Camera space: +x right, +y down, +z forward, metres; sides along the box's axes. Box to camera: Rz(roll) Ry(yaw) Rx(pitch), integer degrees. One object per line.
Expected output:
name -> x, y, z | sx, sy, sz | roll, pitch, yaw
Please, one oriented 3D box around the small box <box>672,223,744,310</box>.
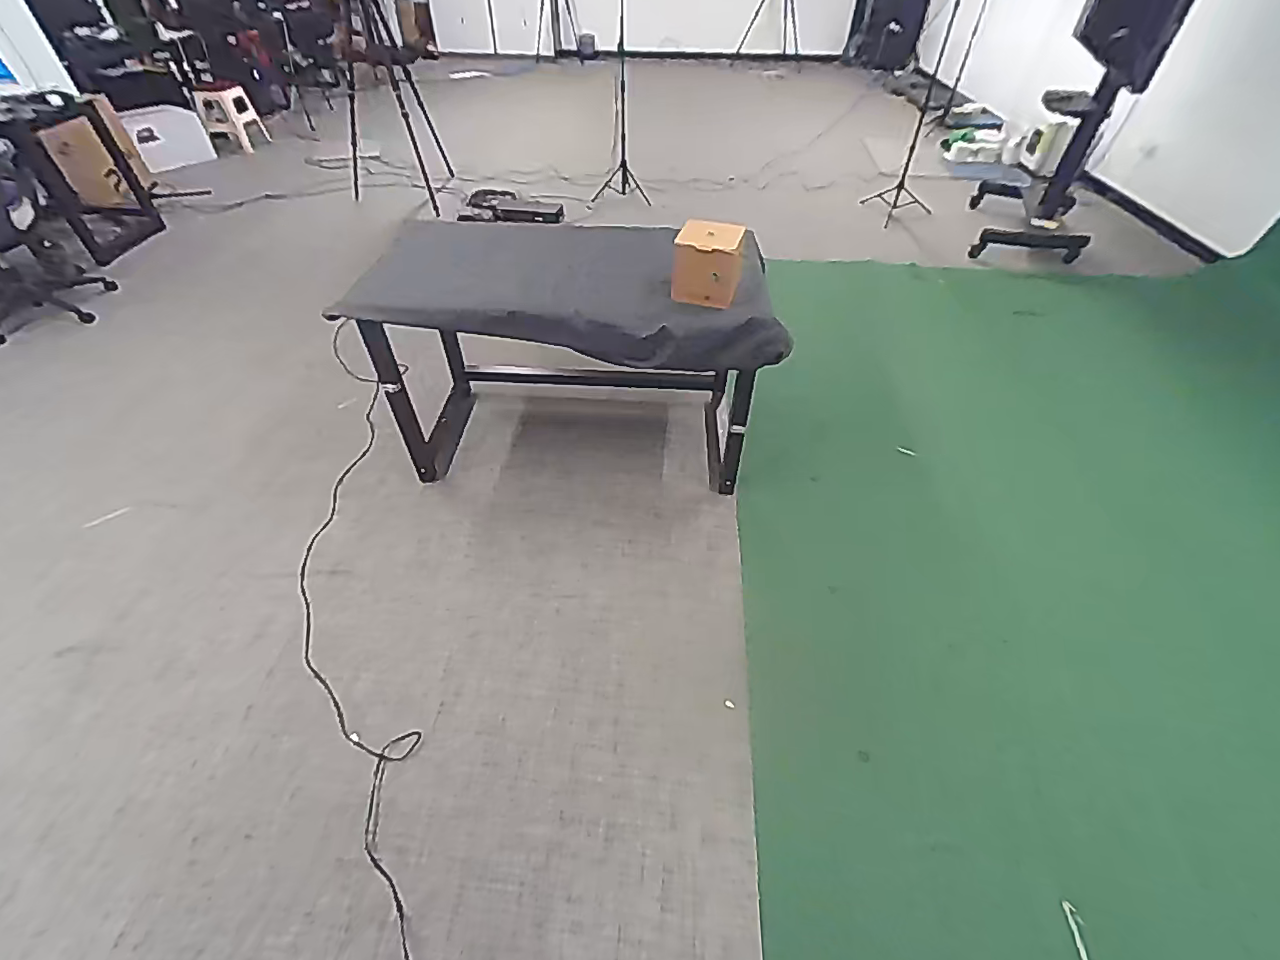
small box -> 0.188, -0.598, 1.518 | 0.168, 0.176, 0.179 | 13, 45, 11
